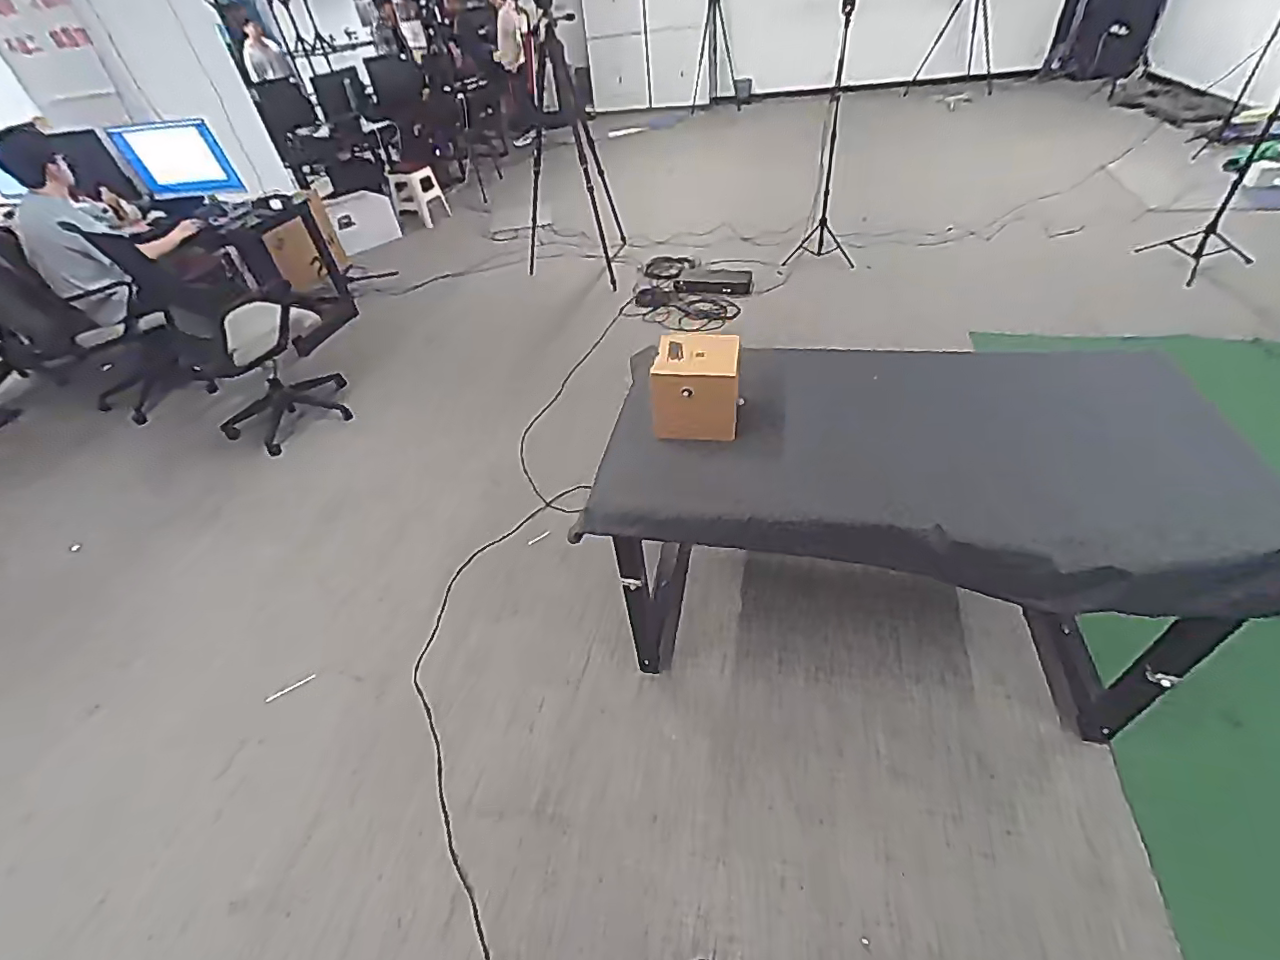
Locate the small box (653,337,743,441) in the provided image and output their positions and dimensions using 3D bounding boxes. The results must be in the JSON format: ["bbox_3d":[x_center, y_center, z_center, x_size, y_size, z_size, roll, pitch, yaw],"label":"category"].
[{"bbox_3d":[0.132,-0.200,1.190,0.179,0.176,0.168,4,44,11],"label":"small box"}]
